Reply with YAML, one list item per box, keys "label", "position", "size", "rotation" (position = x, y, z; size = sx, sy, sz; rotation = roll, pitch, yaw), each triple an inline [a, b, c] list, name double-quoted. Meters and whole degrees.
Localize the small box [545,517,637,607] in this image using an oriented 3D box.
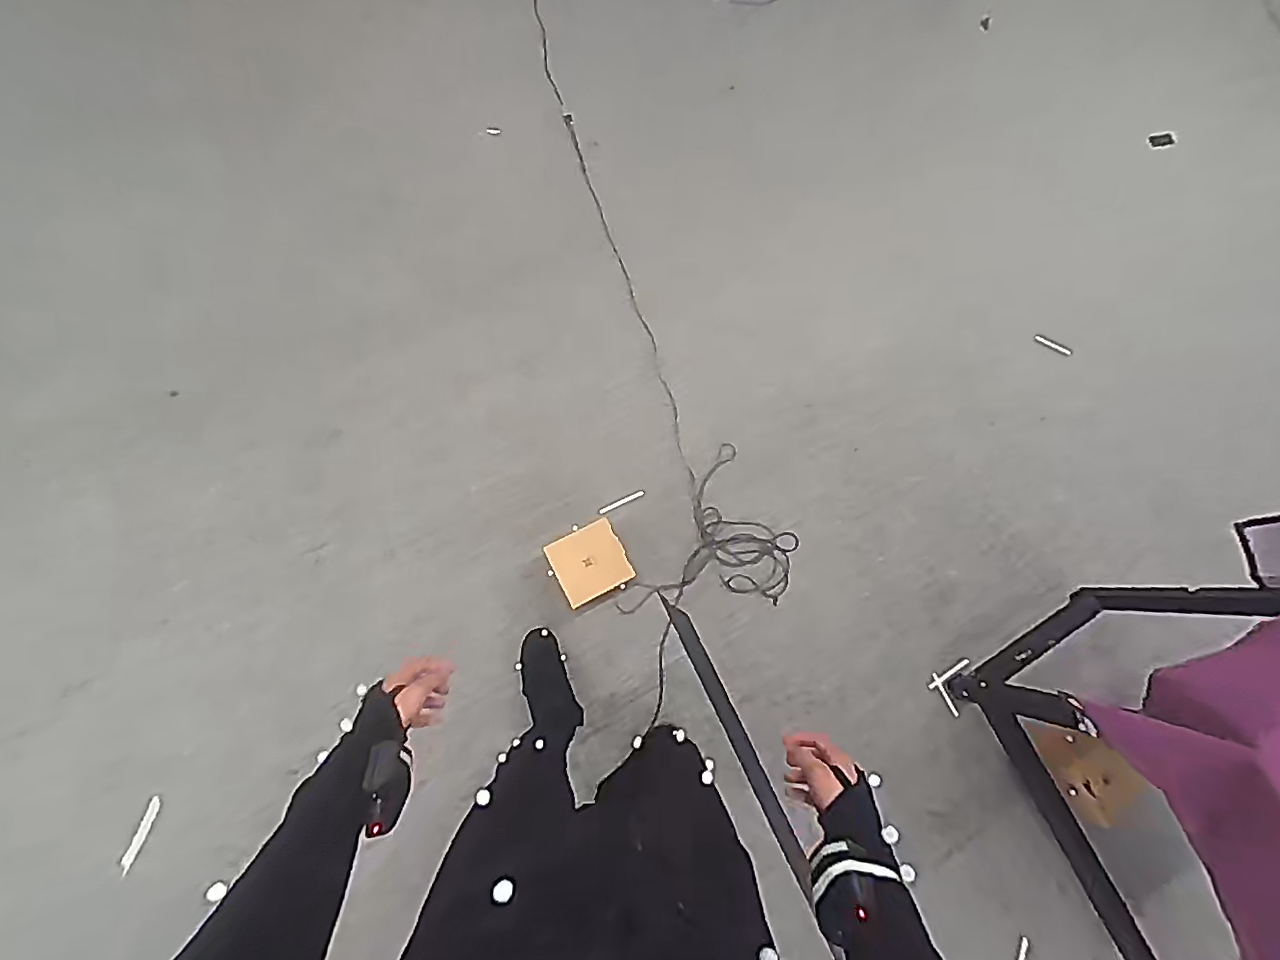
- label: "small box"
  position: [-0.127, 0.213, 1.384]
  size: [0.179, 0.176, 0.168]
  rotation: [-27, 84, -13]
